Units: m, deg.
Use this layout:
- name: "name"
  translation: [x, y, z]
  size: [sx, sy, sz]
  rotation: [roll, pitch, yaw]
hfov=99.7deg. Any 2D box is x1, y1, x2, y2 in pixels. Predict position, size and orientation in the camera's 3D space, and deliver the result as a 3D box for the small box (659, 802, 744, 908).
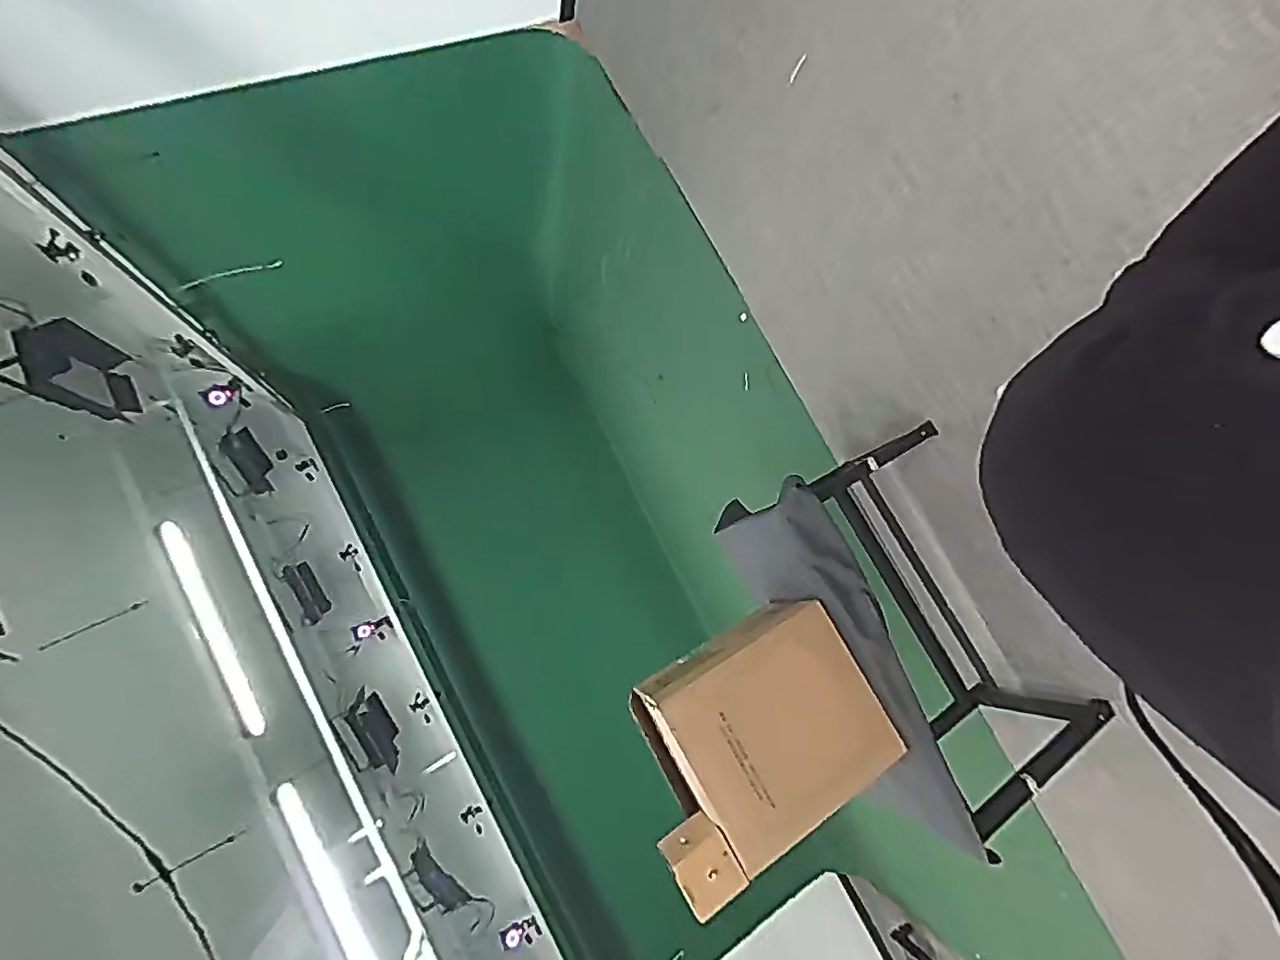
- name: "small box"
  translation: [0.183, 1.091, 1.593]
  size: [0.168, 0.176, 0.179]
  rotation: [60, 163, 7]
